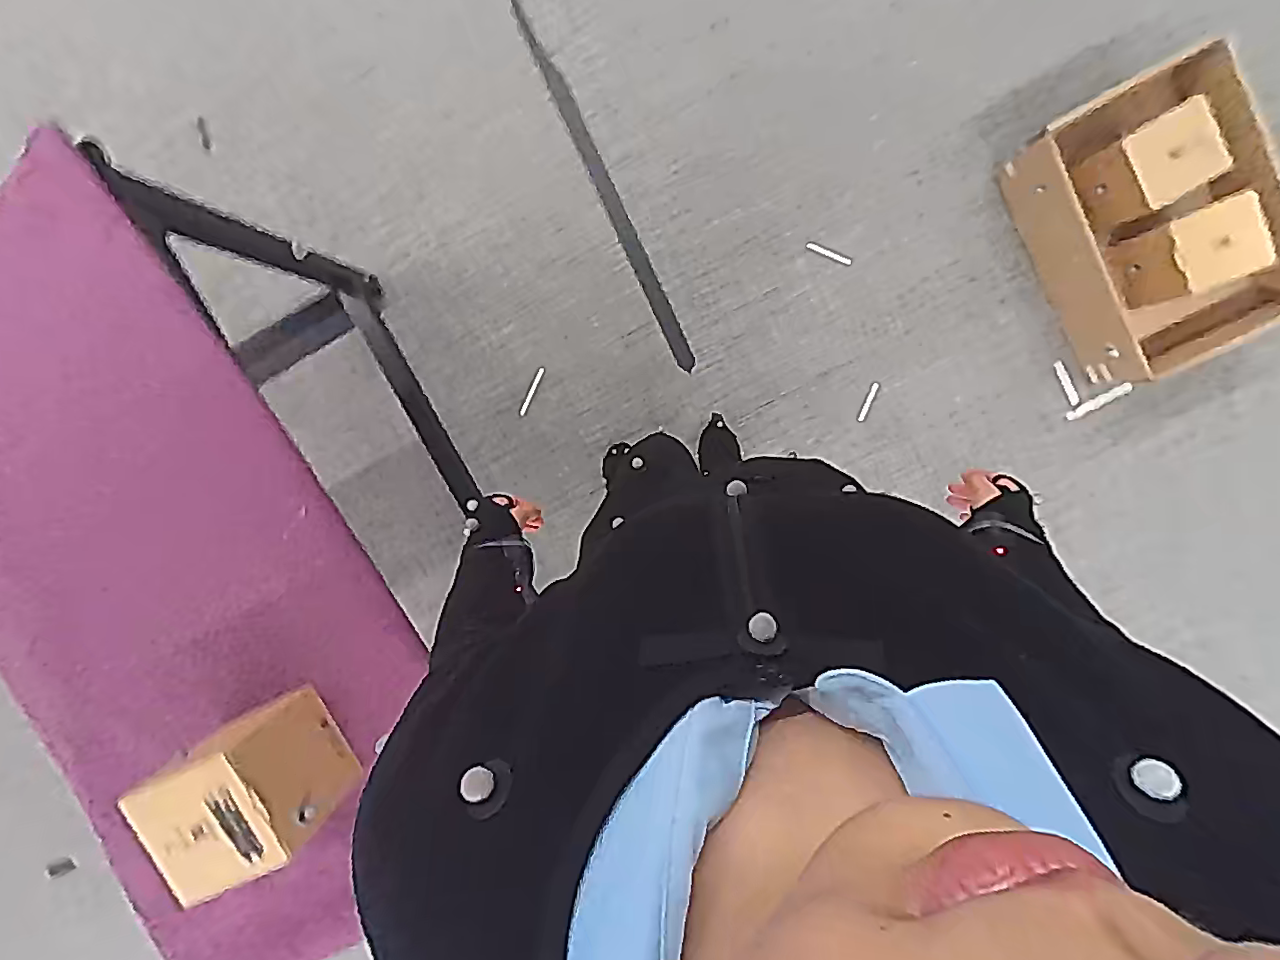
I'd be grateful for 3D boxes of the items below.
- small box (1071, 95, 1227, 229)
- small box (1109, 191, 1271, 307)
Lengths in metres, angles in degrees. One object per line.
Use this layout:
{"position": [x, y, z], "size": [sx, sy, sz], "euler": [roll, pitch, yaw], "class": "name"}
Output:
{"position": [1.119, -0.697, 1.211], "size": [0.179, 0.176, 0.168], "euler": [-29, 97, 7], "class": "small box"}
{"position": [1.239, -0.516, 1.231], "size": [0.179, 0.176, 0.168], "euler": [-22, 95, 6], "class": "small box"}
